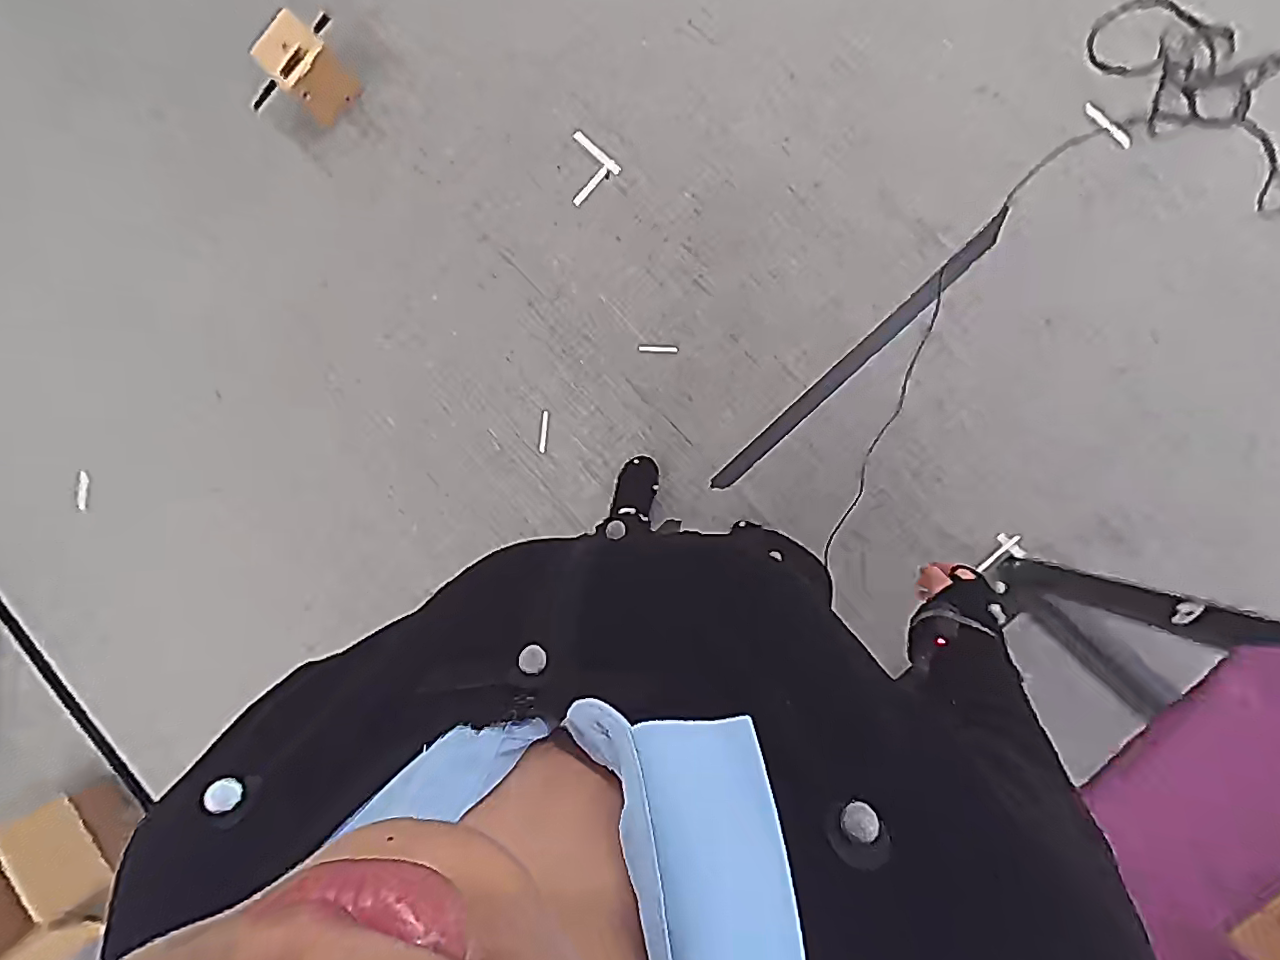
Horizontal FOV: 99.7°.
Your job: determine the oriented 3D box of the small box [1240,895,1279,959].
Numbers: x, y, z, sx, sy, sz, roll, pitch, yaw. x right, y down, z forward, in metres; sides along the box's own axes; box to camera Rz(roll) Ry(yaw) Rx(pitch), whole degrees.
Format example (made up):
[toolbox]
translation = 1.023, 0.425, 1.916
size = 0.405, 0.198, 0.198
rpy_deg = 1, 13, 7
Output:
[small box]
translation = 0.821, 0.549, 0.557
size = 0.179, 0.176, 0.168
rpy_deg = 44, 97, 7
